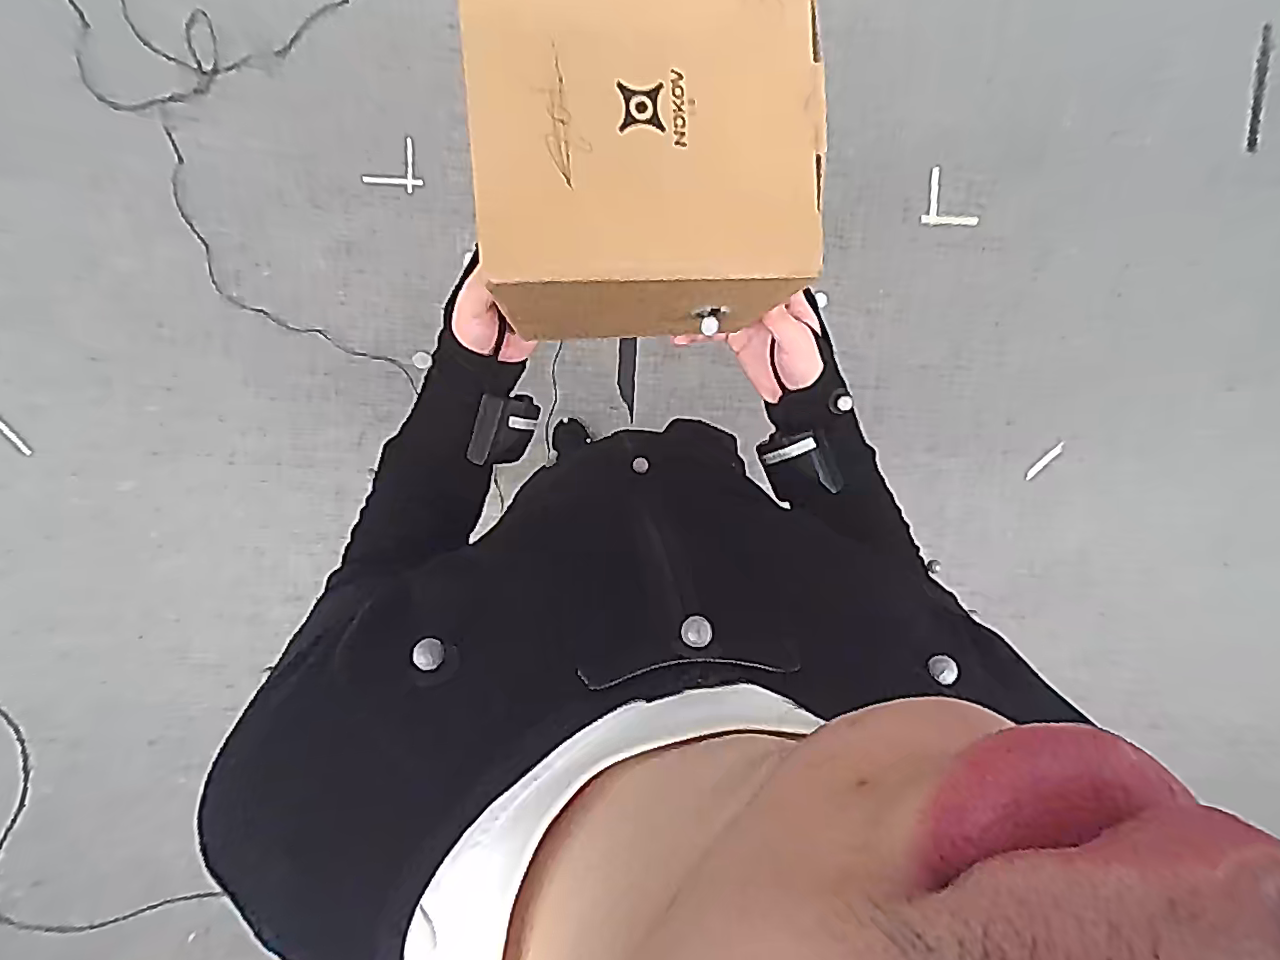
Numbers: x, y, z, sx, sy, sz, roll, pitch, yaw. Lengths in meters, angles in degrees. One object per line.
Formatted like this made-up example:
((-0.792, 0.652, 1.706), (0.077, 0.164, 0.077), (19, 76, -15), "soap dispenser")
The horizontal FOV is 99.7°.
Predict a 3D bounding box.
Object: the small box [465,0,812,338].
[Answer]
((-0.005, -0.192, 0.355), (0.179, 0.176, 0.168), (-4, 95, -5), "small box")
